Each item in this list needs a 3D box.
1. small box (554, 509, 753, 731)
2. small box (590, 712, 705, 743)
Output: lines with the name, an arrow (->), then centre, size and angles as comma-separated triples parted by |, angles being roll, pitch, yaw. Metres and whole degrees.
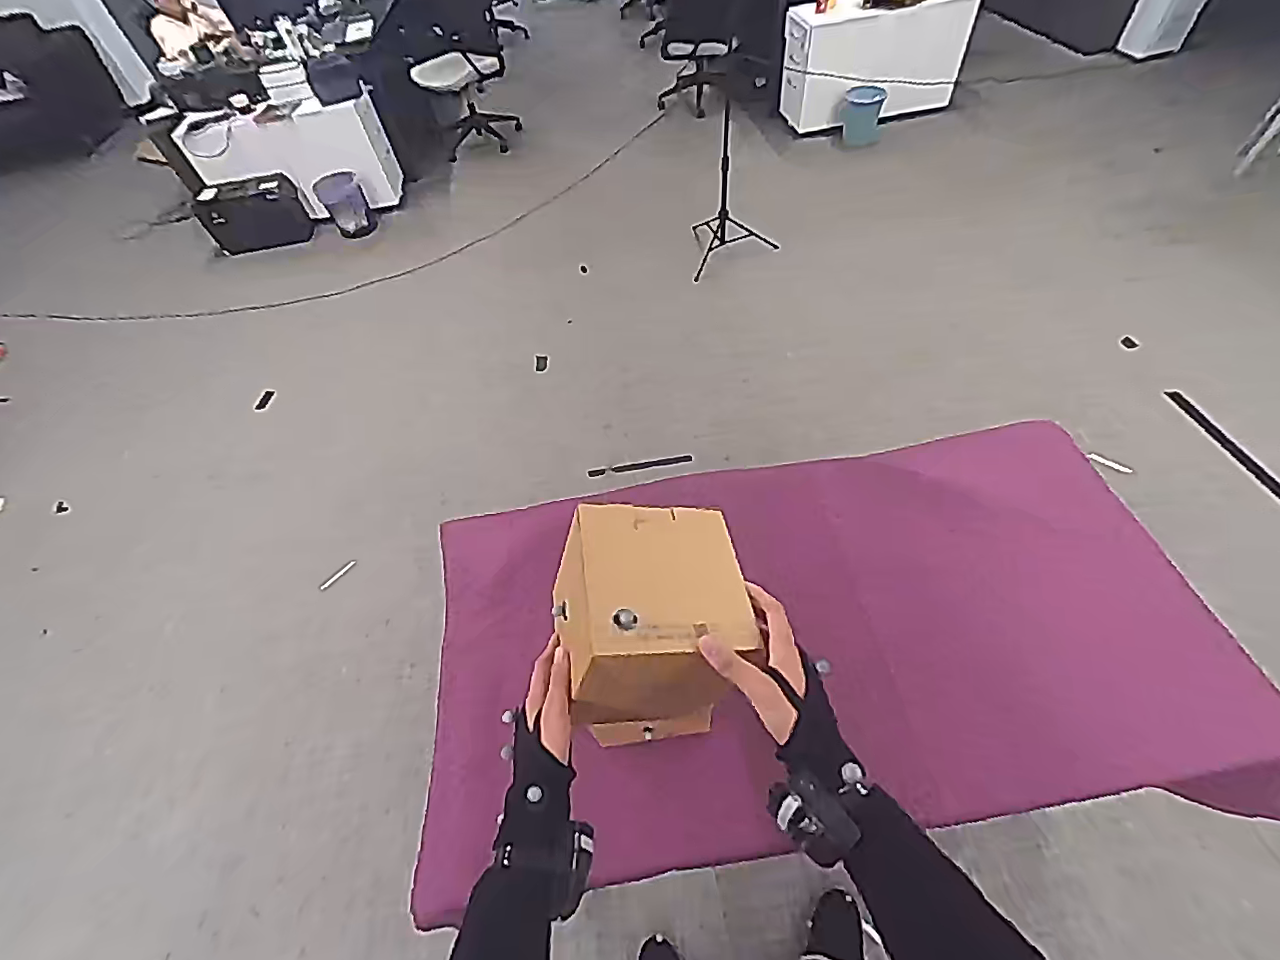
small box -> 0.002, 0.151, 0.585 | 0.168, 0.179, 0.176 | 4, 45, -15
small box -> 0.003, 0.278, 0.799 | 0.168, 0.176, 0.179 | -8, 53, 0
